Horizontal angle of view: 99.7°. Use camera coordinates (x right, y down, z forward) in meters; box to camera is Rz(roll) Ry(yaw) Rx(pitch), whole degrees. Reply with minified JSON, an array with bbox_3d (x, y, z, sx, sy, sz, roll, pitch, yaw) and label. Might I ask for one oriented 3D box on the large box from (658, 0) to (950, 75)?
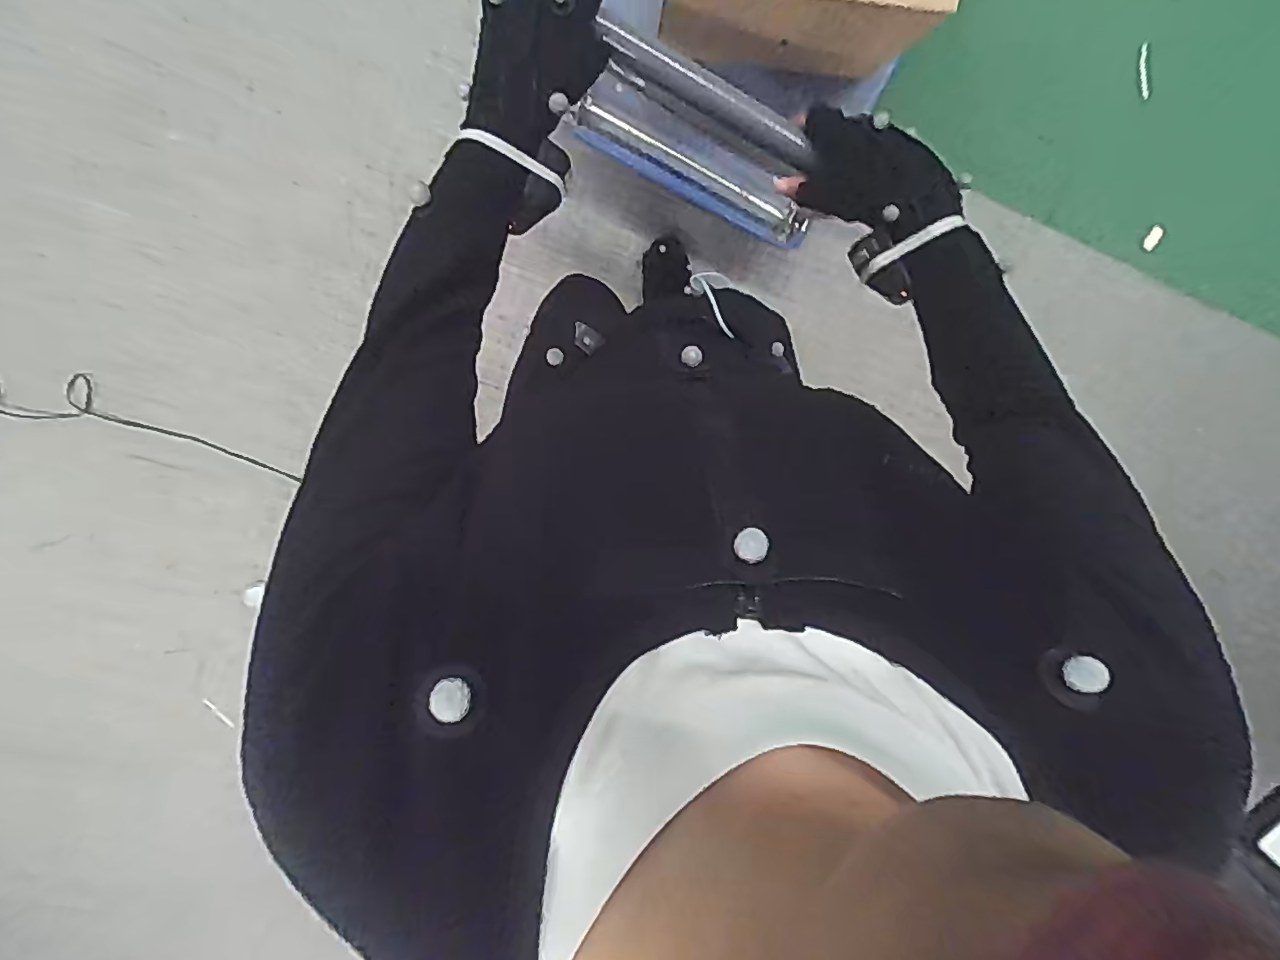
[{"bbox_3d":[0.248,-0.864,0.830,0.408,0.320,0.320,5,112,-3],"label":"large box"}]
